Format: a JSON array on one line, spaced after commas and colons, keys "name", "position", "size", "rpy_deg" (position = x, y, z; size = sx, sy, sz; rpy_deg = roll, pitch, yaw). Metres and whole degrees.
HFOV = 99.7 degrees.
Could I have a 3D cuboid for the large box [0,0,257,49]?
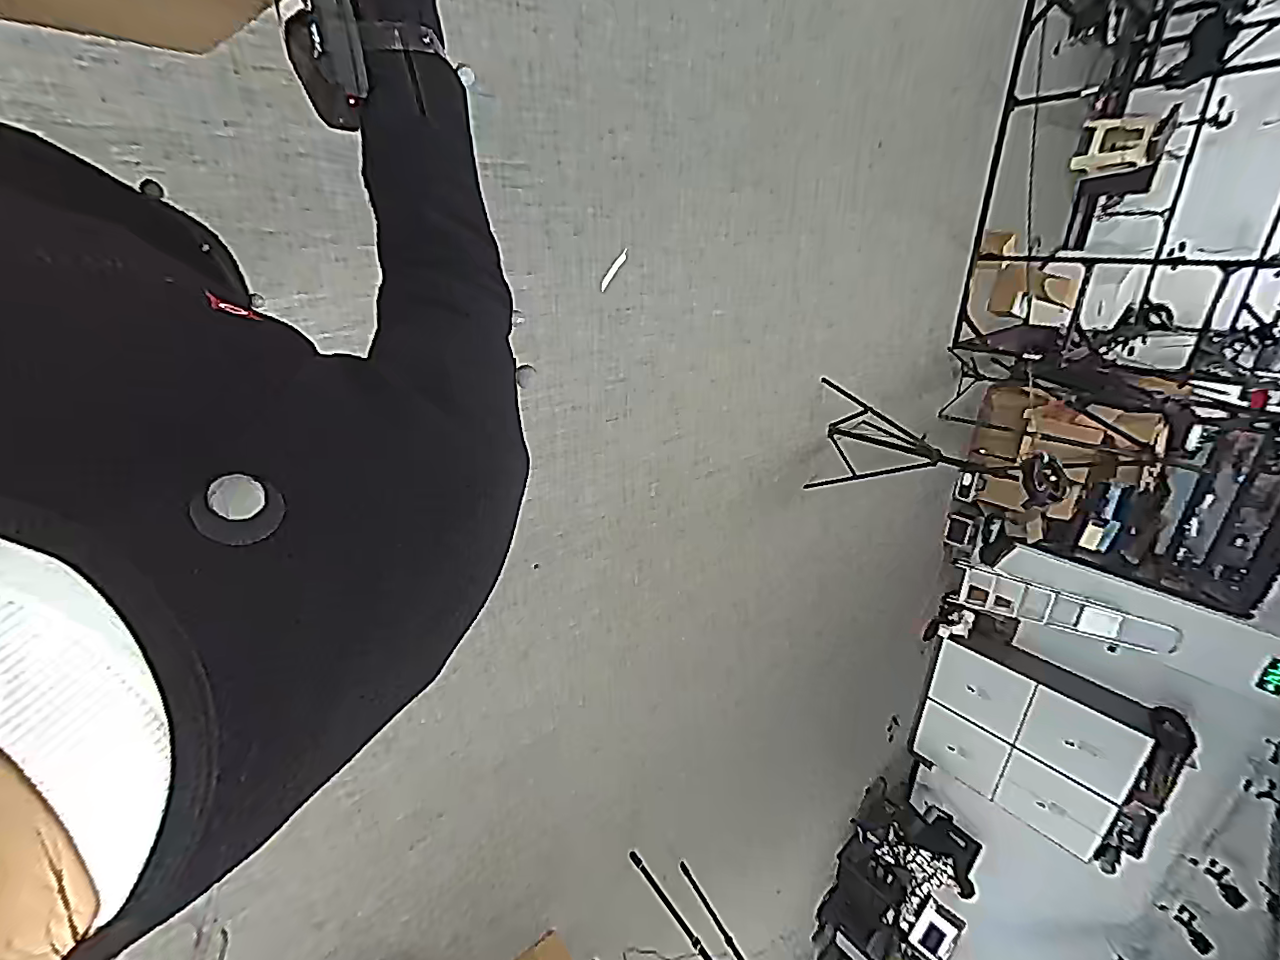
[{"name": "large box", "position": [-0.450, -0.428, 0.226], "size": [0.408, 0.320, 0.320], "rpy_deg": [-21, 127, -39]}]
